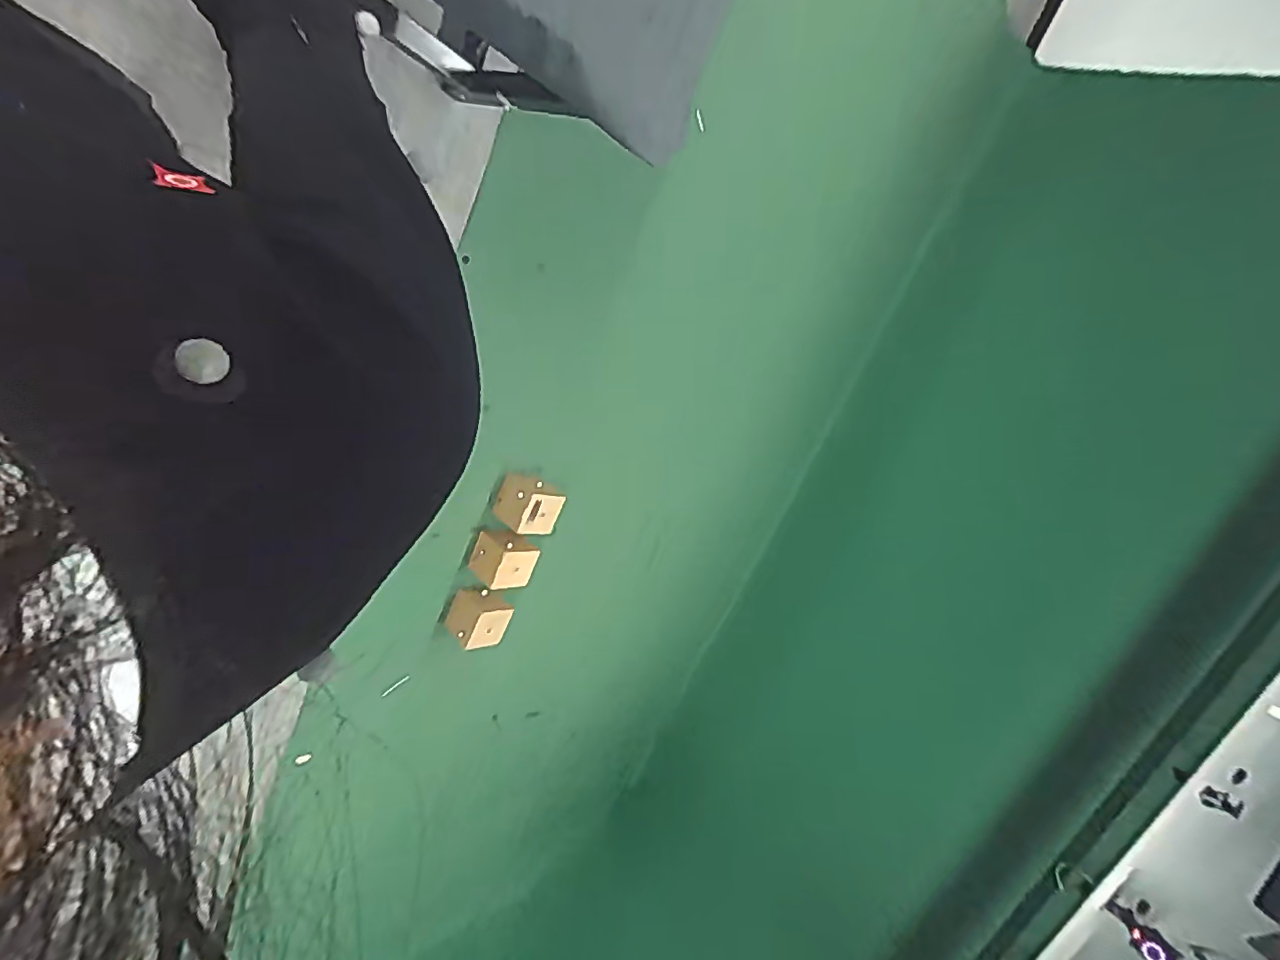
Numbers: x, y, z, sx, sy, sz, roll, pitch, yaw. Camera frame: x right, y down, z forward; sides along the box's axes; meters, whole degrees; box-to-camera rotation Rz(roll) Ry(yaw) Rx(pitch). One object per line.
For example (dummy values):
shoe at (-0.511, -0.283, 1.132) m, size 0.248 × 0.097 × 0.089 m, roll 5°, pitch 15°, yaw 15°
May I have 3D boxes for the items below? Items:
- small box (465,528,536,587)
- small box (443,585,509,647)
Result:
small box at (-0.548, 0.298, 2.116) m, size 0.179 × 0.176 × 0.168 m, roll 7°, pitch 113°, yaw -52°
small box at (-0.665, 0.541, 2.172) m, size 0.168 × 0.176 × 0.179 m, roll 10°, pitch 110°, yaw -54°
